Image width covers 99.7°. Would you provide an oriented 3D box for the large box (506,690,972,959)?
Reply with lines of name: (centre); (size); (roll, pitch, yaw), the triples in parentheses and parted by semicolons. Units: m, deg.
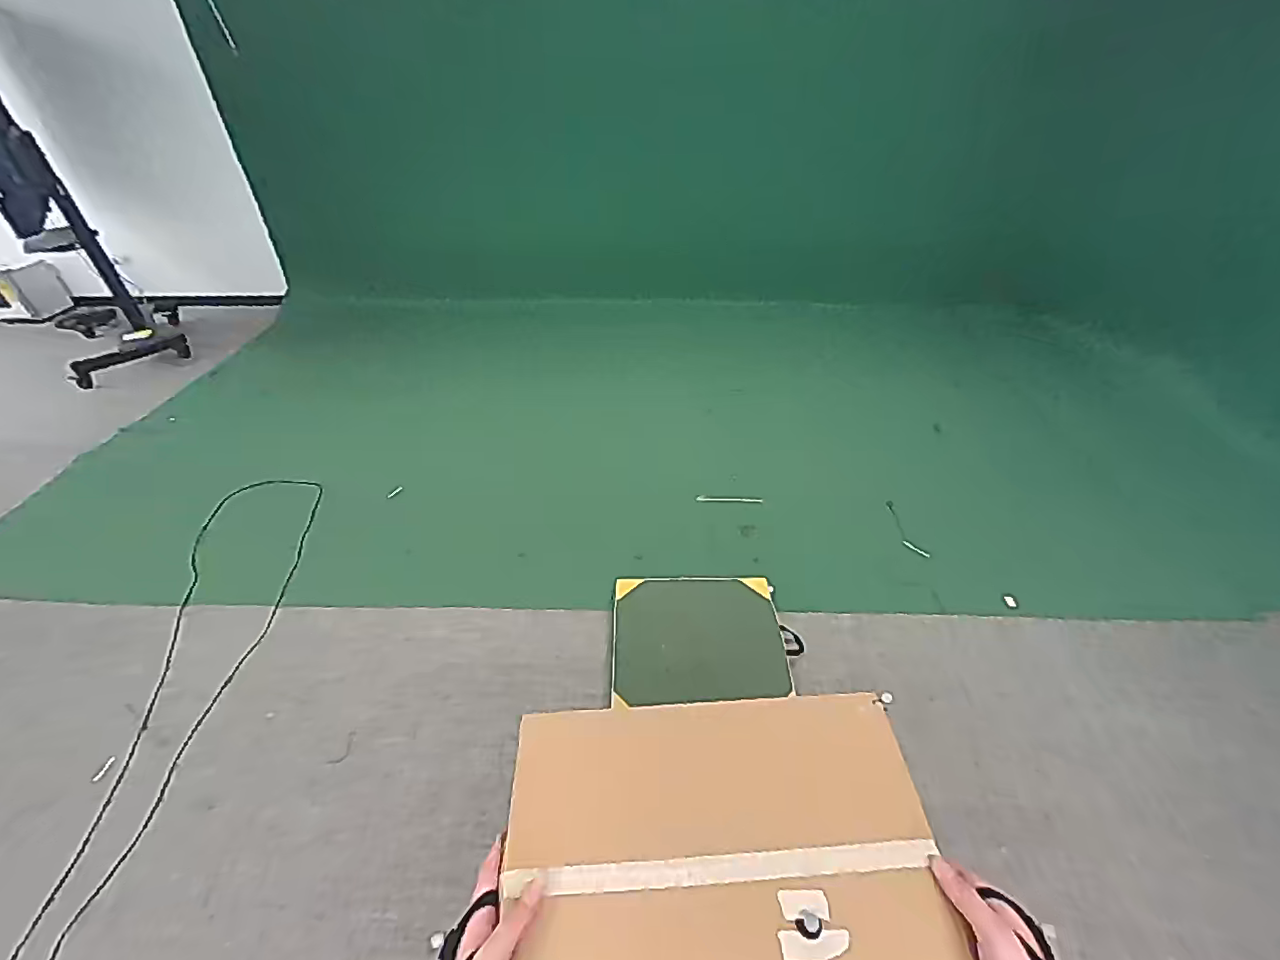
large box: (0.080, 0.470, 0.612); (0.408, 0.320, 0.320); (-3, 43, -2)
